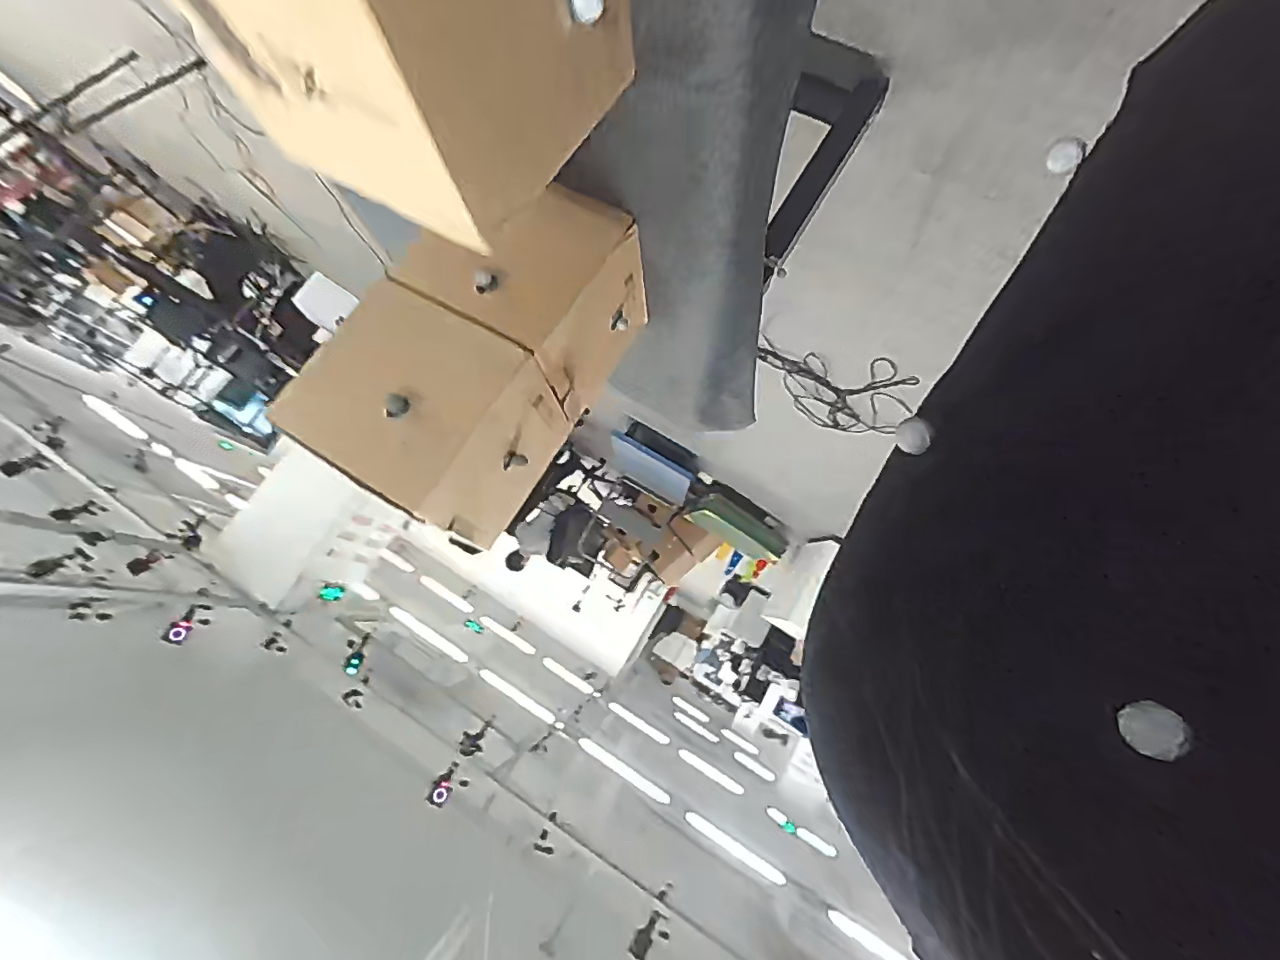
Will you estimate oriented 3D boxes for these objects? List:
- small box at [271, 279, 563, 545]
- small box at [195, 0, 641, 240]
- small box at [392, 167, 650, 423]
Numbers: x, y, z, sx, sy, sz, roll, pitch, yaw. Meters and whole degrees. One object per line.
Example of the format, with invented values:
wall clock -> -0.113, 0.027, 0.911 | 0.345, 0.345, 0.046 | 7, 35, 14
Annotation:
small box -> -0.193, -0.062, 0.529 | 0.179, 0.176, 0.168 | 28, 167, 14
small box -> -0.118, -0.275, 0.281 | 0.179, 0.176, 0.168 | 30, 168, 12
small box -> -0.109, -0.197, 0.570 | 0.179, 0.176, 0.168 | 29, 167, 13
